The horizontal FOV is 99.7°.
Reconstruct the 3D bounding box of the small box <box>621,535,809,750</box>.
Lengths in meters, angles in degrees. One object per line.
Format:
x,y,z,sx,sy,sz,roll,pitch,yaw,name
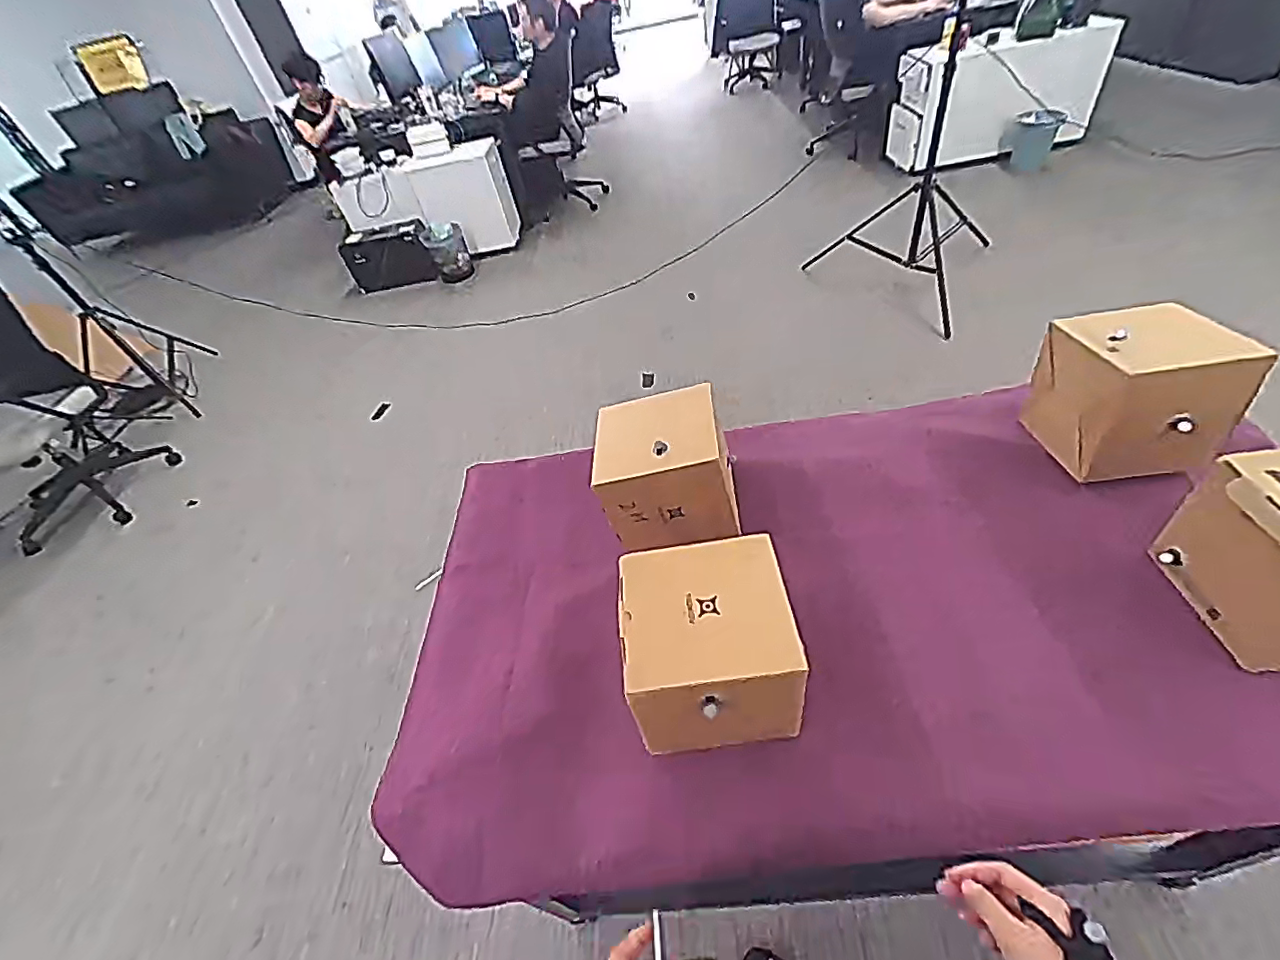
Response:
0.079,0.188,0.615,0.179,0.176,0.168,-10,44,4,small box

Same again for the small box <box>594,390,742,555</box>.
0.043,-0.011,0.802,0.179,0.168,0.176,-12,43,13,small box

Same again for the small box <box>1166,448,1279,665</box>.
0.714,0.079,0.564,0.179,0.176,0.168,-6,44,7,small box
